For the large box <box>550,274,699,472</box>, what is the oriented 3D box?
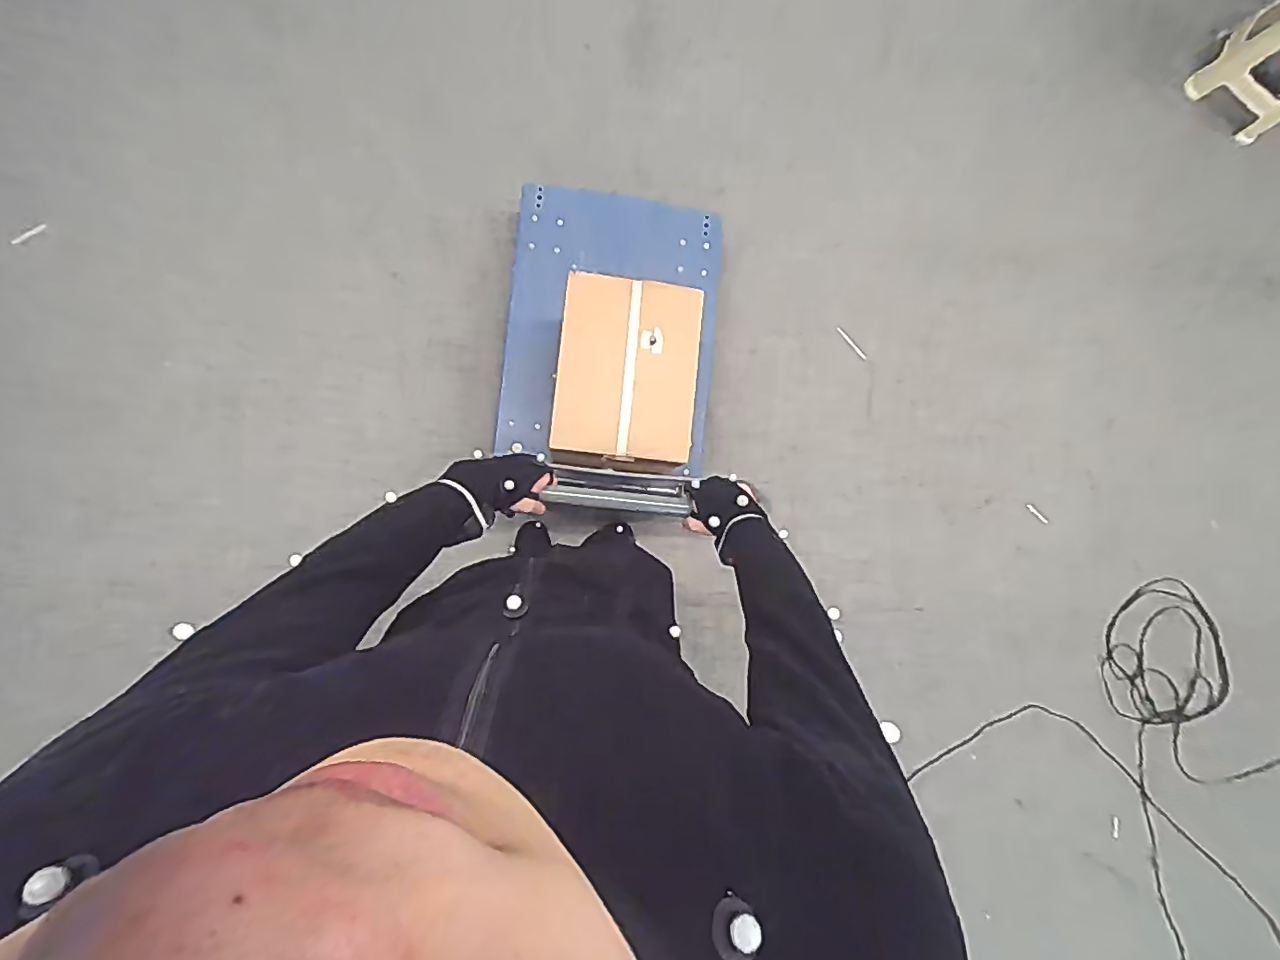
[{"bbox_3d":[-0.048,-0.239,1.354,0.320,0.320,0.408,6,85,-8],"label":"large box"}]
